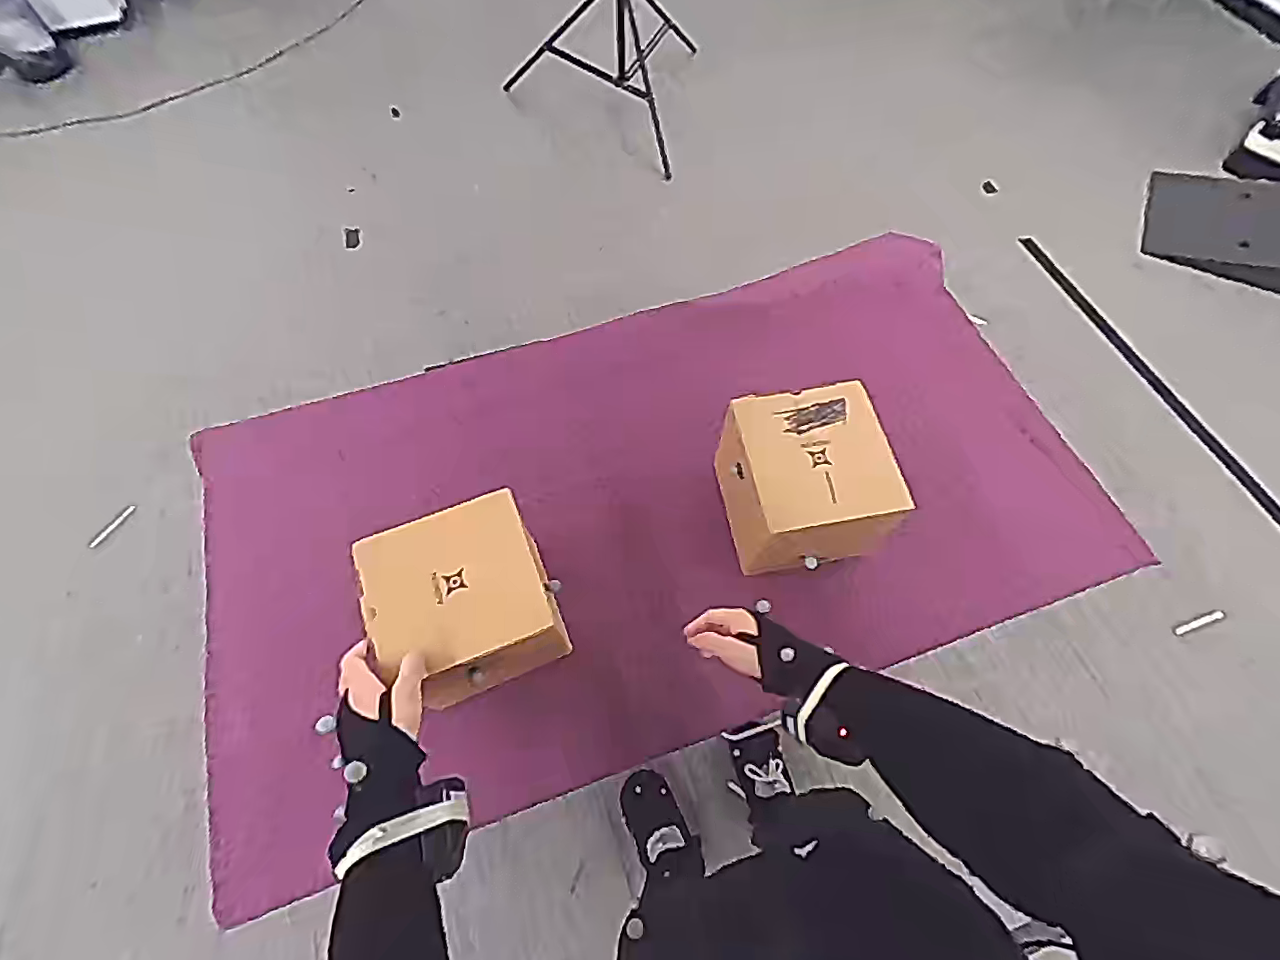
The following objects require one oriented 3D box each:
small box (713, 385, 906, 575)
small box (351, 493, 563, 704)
[{"bbox_3d":[0.198,0.005,0.693,0.168,0.176,0.179,-9,65,-4],"label":"small box"},{"bbox_3d":[-0.197,0.143,0.628,0.179,0.176,0.168,-21,66,-10],"label":"small box"}]
